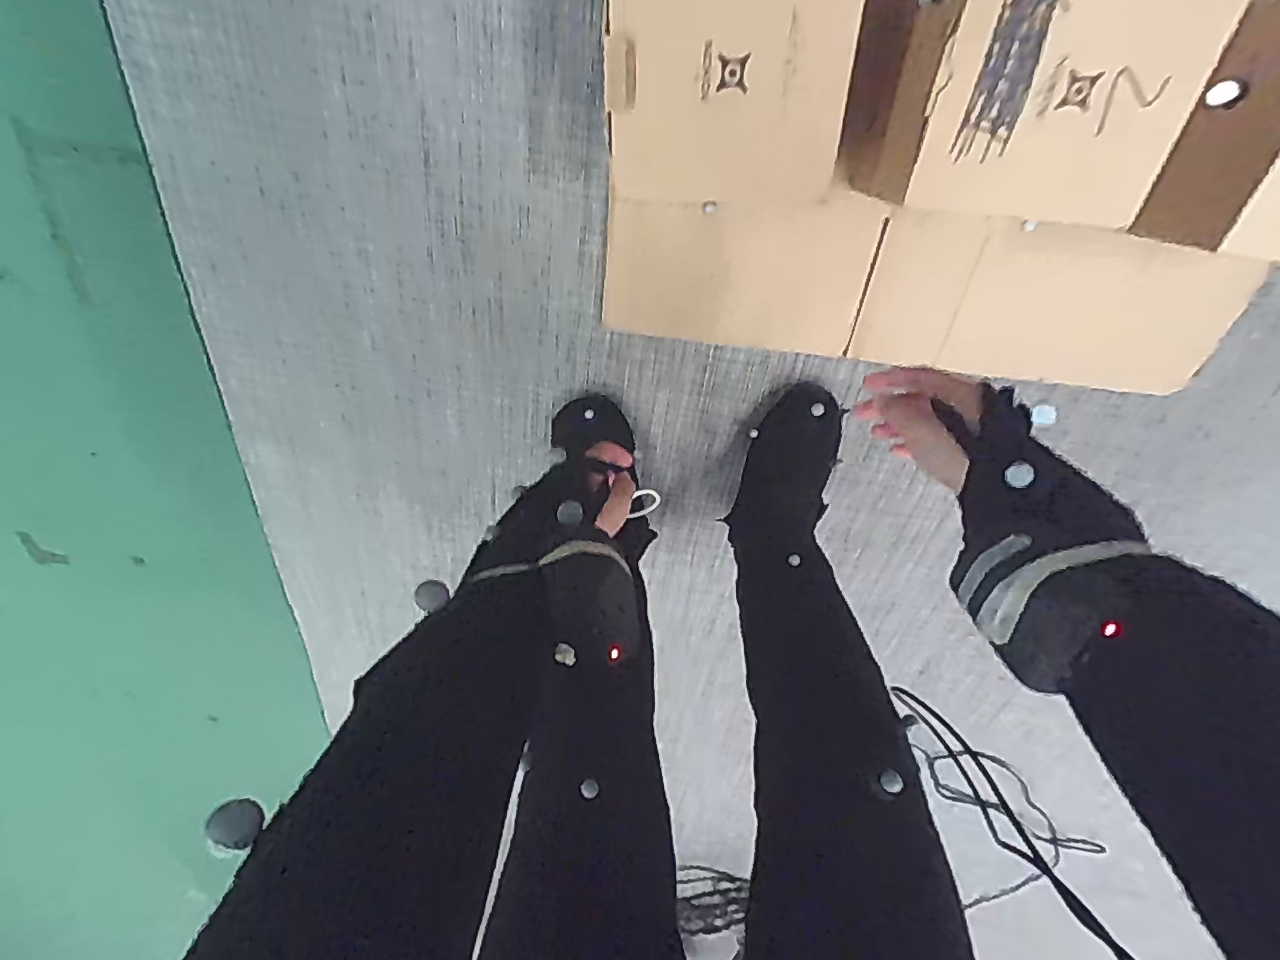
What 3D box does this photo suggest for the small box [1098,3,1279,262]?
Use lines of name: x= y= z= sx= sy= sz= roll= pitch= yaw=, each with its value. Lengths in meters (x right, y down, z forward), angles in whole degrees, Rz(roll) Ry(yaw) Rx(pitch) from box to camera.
small box: x=0.540 y=-0.270 z=0.437 sx=0.179 sy=0.176 sz=0.168 roll=9 pitch=123 yaw=0

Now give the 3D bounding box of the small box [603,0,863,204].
small box: x=0.069 y=-0.333 z=0.452 sx=0.179 sy=0.176 sz=0.168 roll=3 pitch=124 yaw=4
